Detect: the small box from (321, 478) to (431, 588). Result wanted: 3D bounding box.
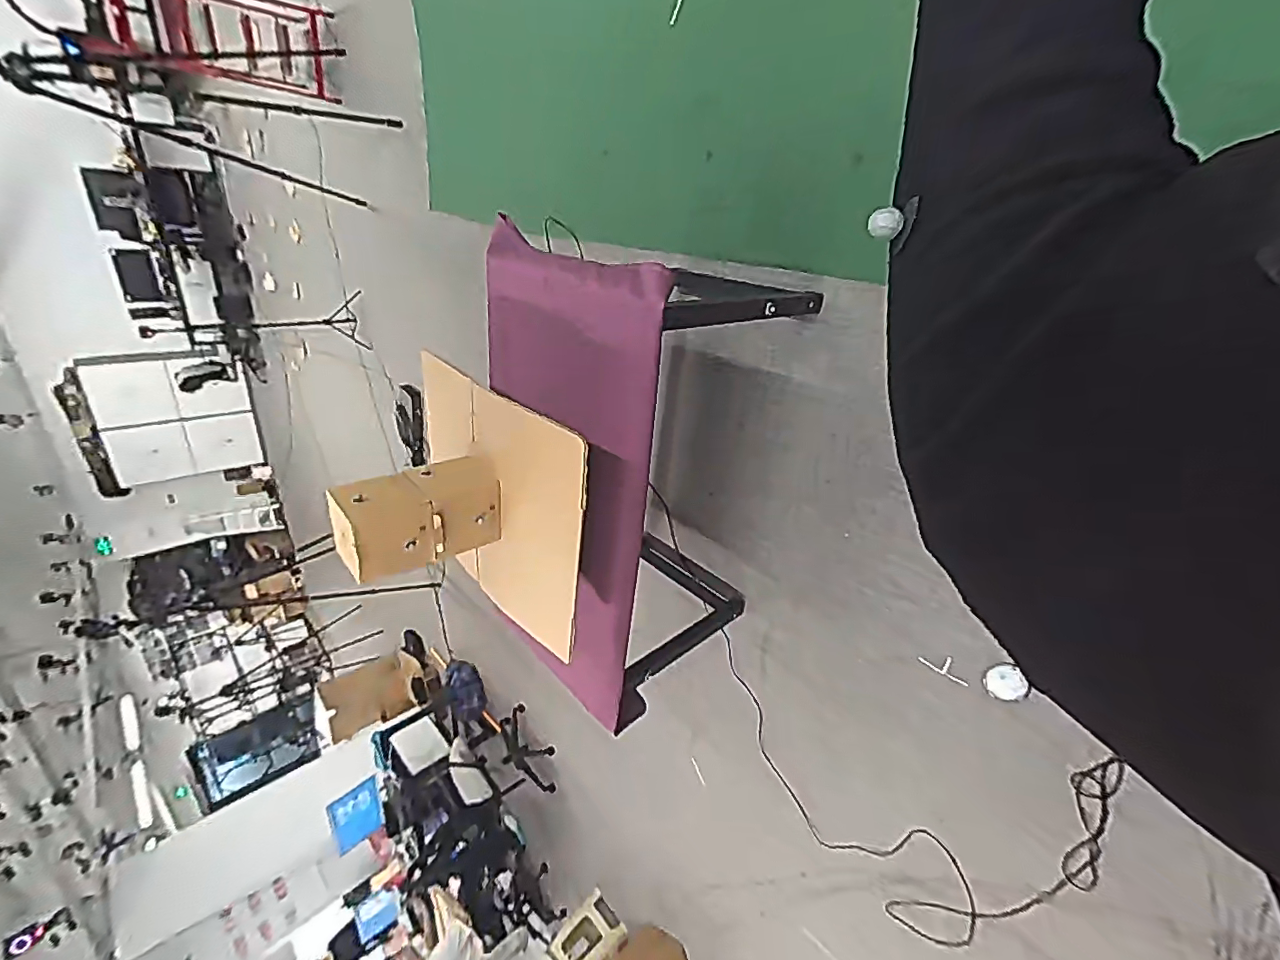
[{"bbox_3d":[-0.587,0.107,1.211,0.179,0.176,0.168,30,125,39],"label":"small box"}]

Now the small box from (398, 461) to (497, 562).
[{"bbox_3d":[-0.467,0.067,1.314,0.179,0.176,0.168,32,127,37],"label":"small box"}]
